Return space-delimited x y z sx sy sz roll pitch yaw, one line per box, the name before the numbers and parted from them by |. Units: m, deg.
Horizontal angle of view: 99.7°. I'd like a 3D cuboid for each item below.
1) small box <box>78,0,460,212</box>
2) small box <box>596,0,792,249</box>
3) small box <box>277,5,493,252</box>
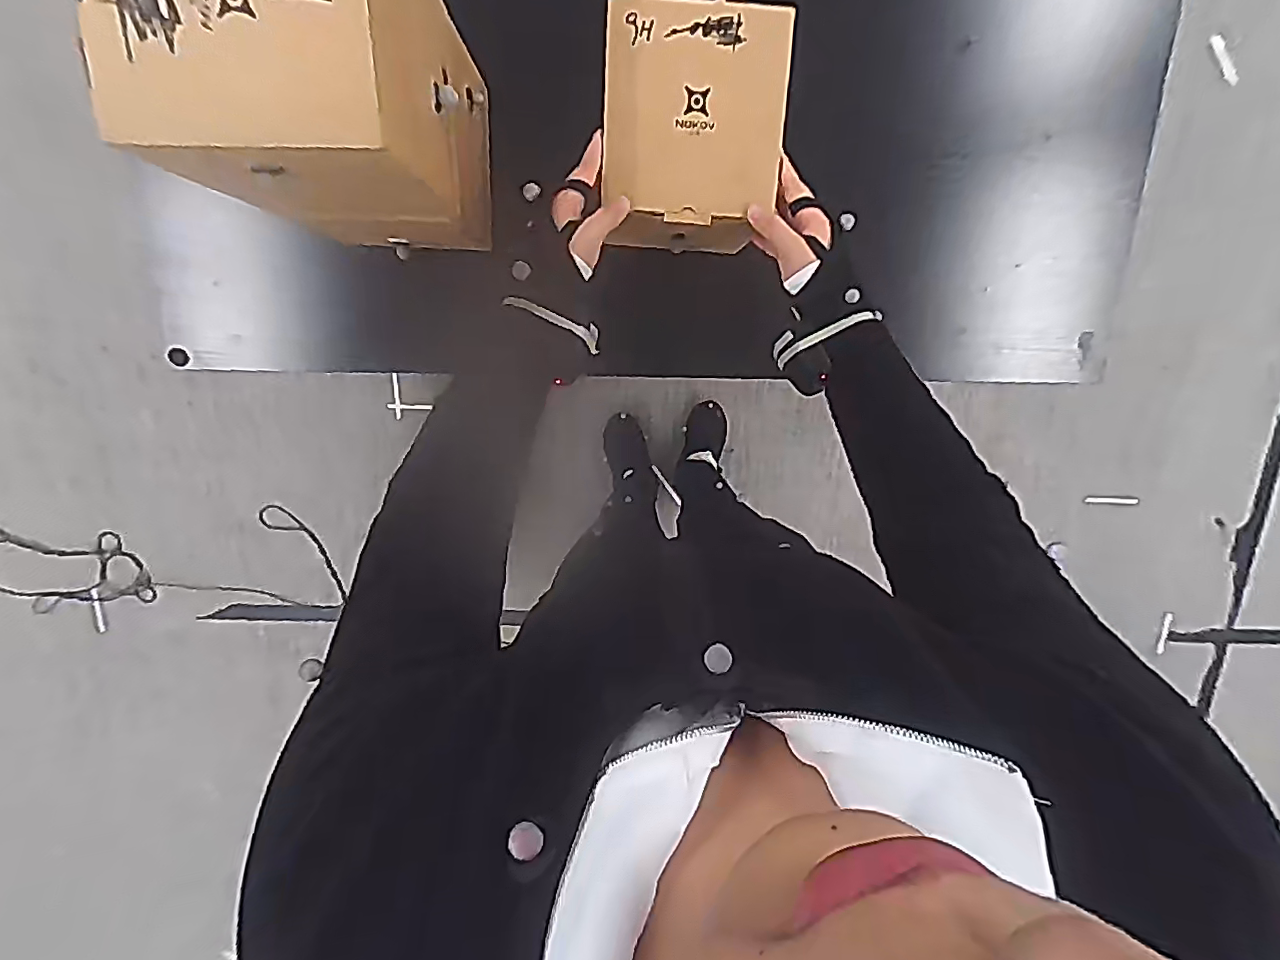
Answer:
small box | -0.248 -0.306 0.398 0.179 0.176 0.168 0 103 -2
small box | 0.045 -0.350 0.566 0.168 0.176 0.179 3 104 -3
small box | -0.254 -0.346 0.558 0.168 0.176 0.179 1 104 -1
